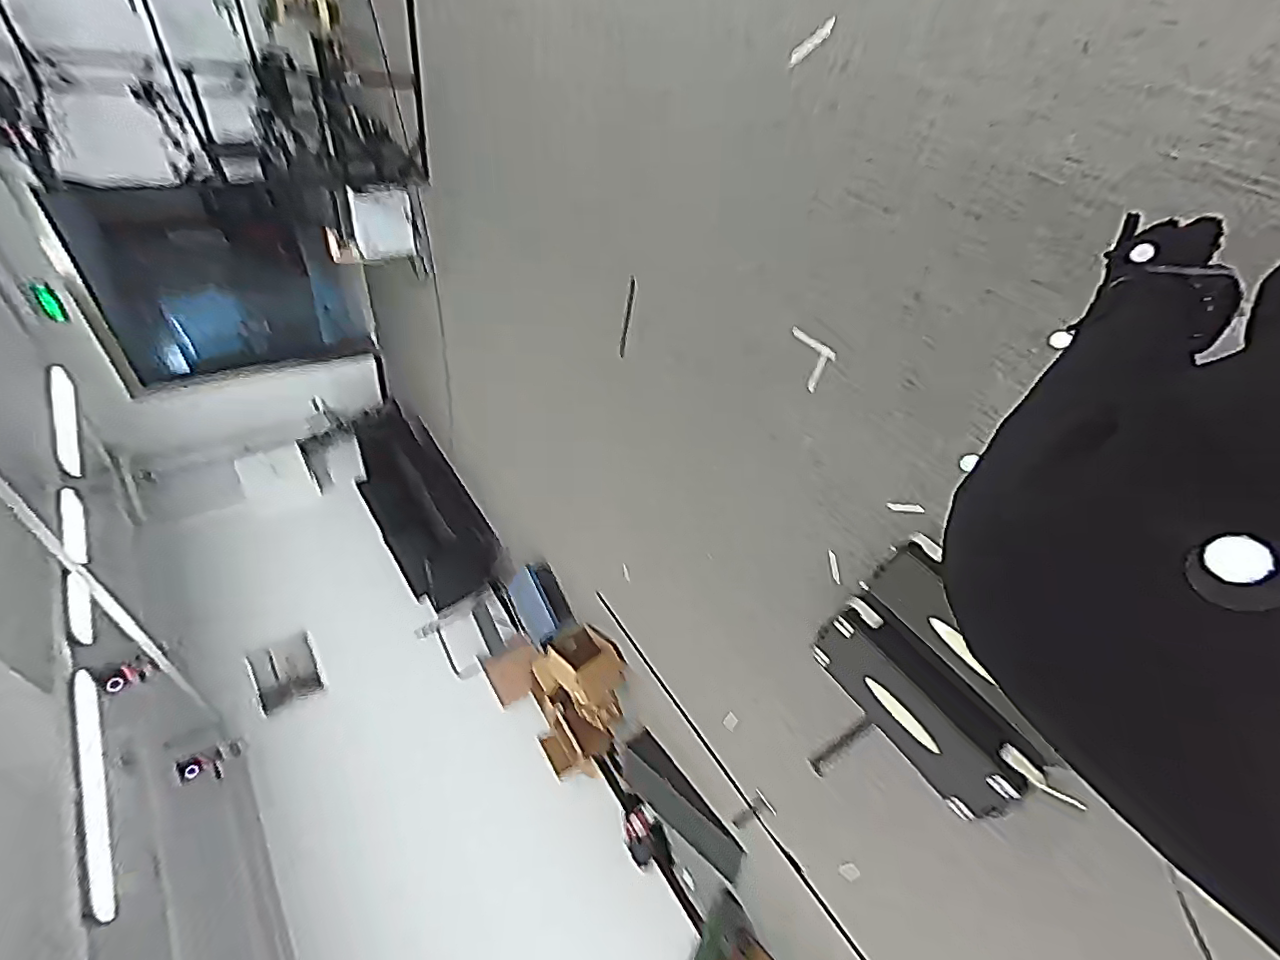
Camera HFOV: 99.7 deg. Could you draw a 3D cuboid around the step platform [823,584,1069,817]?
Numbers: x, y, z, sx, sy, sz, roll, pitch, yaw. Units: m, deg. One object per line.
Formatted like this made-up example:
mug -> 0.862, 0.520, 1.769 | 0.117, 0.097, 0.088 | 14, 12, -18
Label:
step platform -> 0.908, 0.669, 1.688 | 0.684, 0.204, 0.286 | 49, 143, 31
